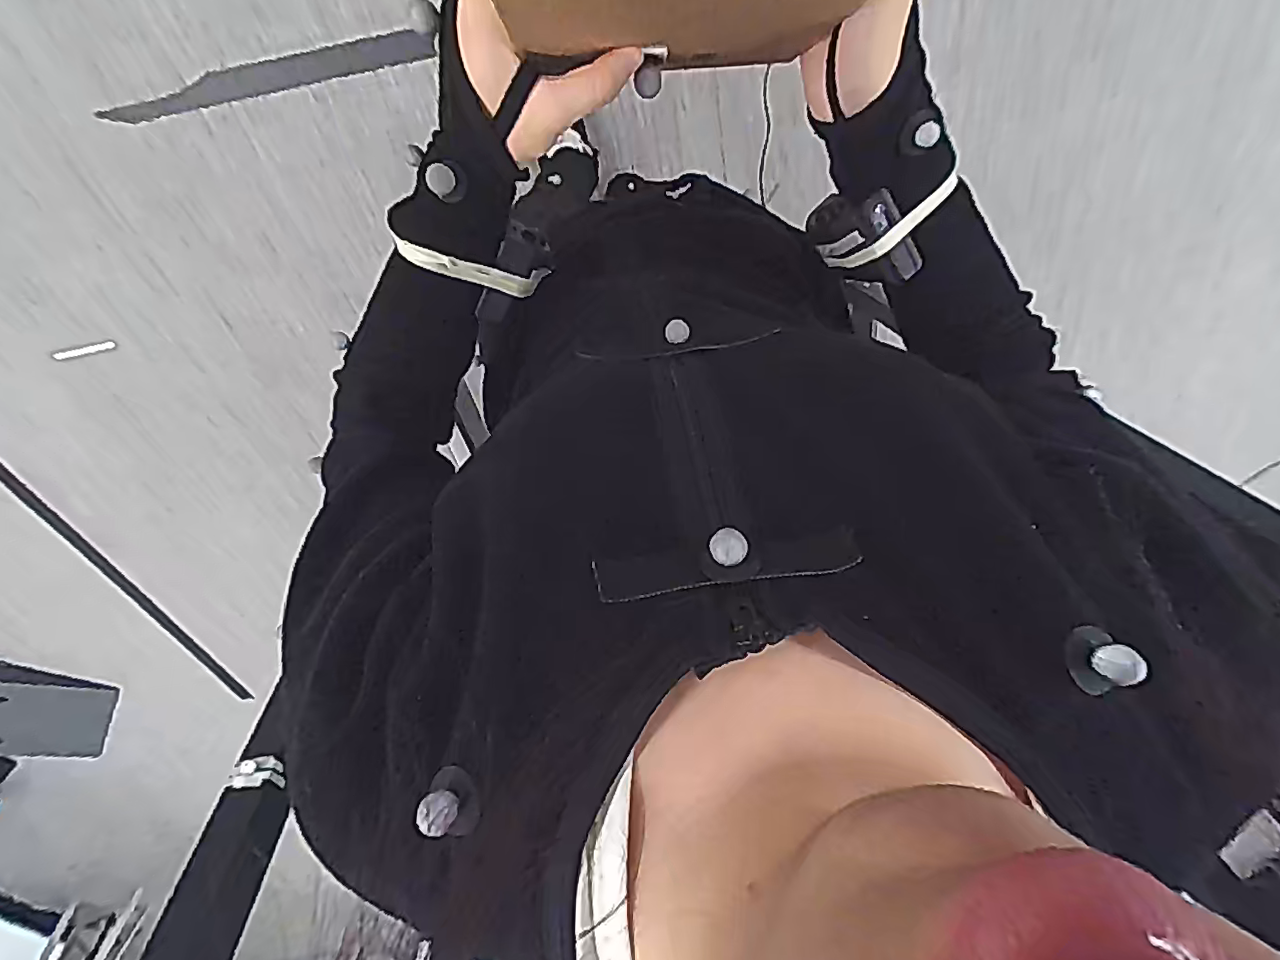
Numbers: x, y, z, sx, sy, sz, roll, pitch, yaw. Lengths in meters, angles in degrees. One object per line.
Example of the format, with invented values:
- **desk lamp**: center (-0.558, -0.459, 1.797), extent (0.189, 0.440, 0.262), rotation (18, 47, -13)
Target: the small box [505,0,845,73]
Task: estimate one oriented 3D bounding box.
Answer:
- **small box**: center (0.012, -0.293, 0.214), extent (0.168, 0.176, 0.179), rotation (-6, 116, -3)
